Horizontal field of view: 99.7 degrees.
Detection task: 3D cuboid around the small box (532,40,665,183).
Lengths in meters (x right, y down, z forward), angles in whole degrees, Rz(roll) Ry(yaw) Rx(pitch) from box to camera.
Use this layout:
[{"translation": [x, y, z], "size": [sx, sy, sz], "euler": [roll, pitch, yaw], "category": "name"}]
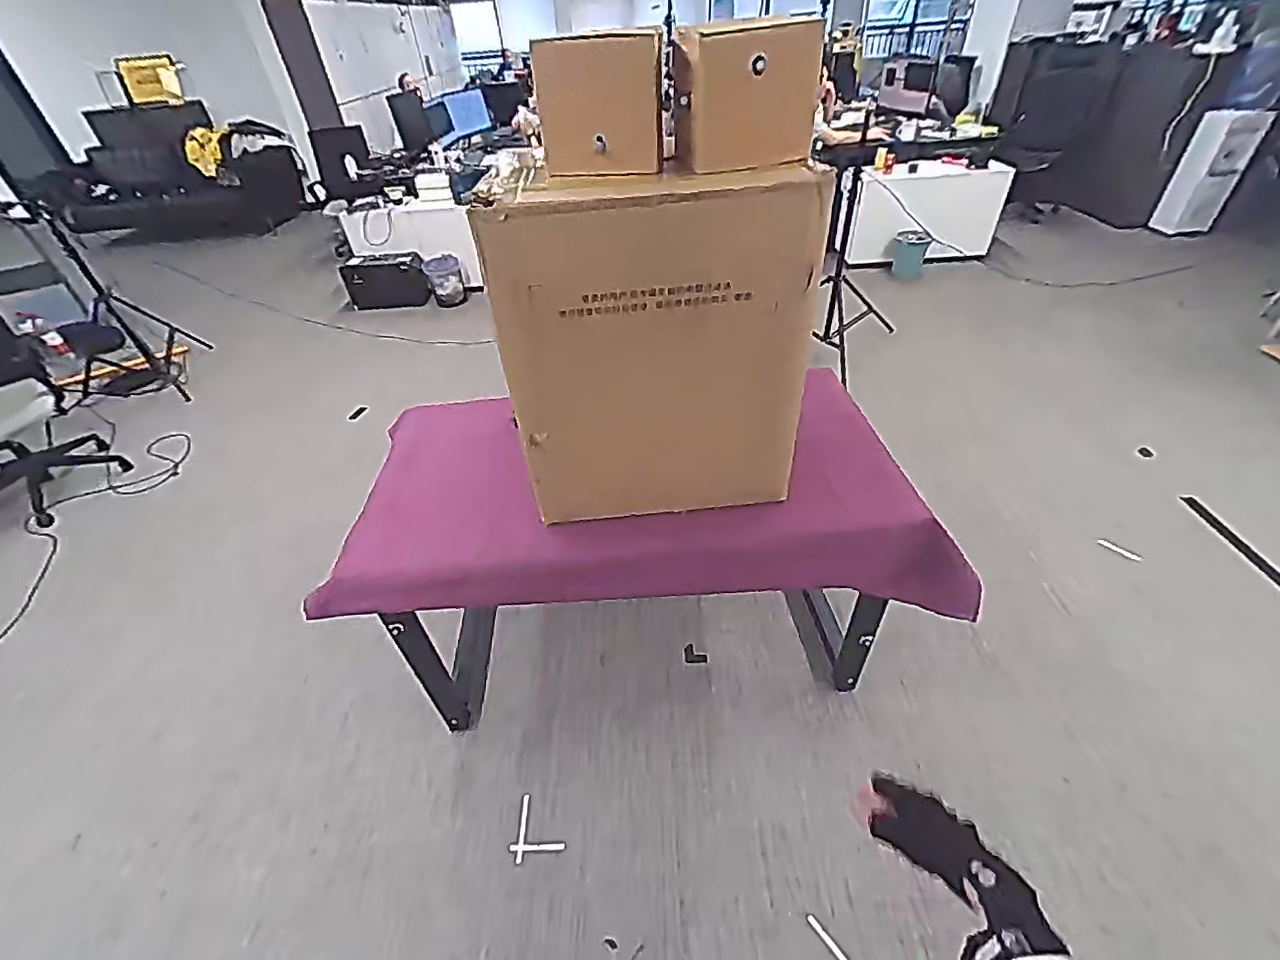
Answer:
[{"translation": [-0.053, -0.578, 0.850], "size": [0.179, 0.176, 0.168], "euler": [2, 41, 6], "category": "small box"}]
